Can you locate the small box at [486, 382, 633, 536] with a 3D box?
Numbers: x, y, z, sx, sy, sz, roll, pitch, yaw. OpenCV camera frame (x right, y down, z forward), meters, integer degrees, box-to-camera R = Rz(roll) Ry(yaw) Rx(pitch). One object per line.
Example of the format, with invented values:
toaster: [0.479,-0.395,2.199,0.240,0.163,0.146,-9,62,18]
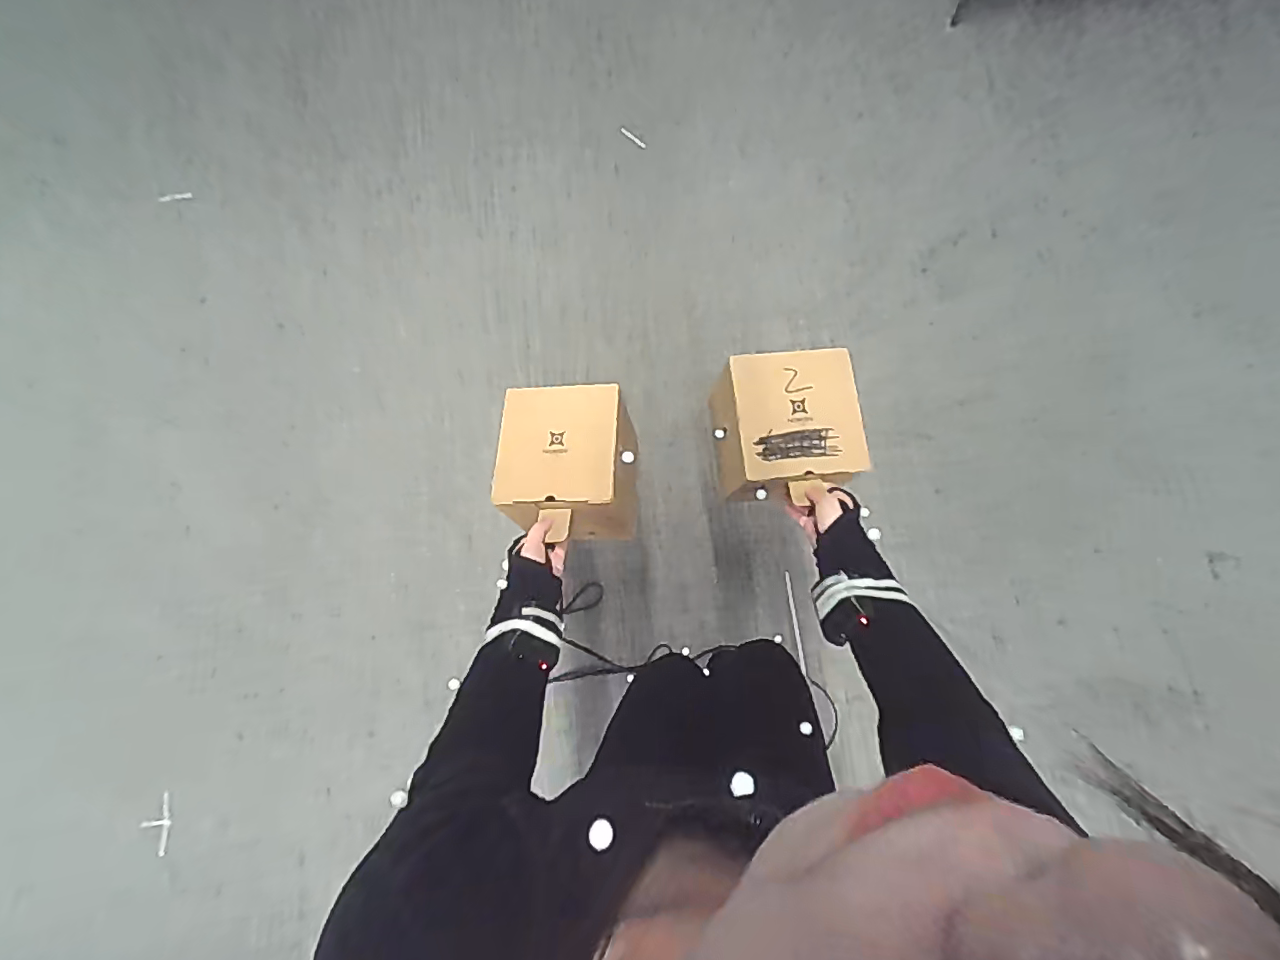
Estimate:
small box: [-0.105,-0.025,0.794,0.168,0.176,0.179,0,70,9]
